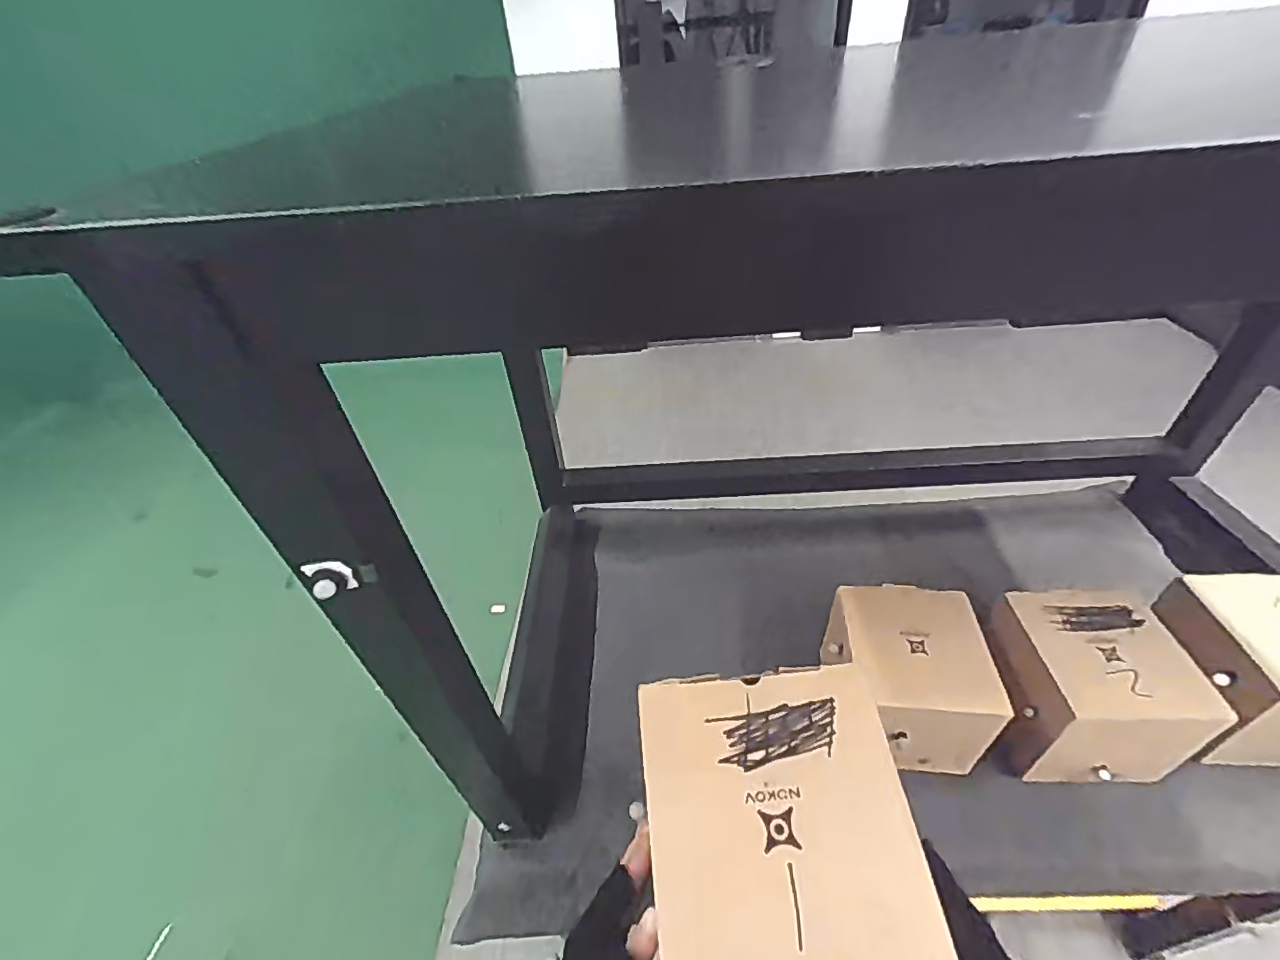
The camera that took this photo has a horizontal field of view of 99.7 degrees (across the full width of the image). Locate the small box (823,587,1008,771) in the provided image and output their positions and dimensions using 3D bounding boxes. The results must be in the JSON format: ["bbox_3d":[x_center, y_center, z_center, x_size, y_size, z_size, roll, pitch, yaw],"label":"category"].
[{"bbox_3d":[0.350,0.267,0.728,0.168,0.176,0.179,1,40,8],"label":"small box"}]

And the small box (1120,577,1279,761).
[{"bbox_3d":[0.790,0.245,0.698,0.168,0.176,0.179,-1,40,6],"label":"small box"}]
